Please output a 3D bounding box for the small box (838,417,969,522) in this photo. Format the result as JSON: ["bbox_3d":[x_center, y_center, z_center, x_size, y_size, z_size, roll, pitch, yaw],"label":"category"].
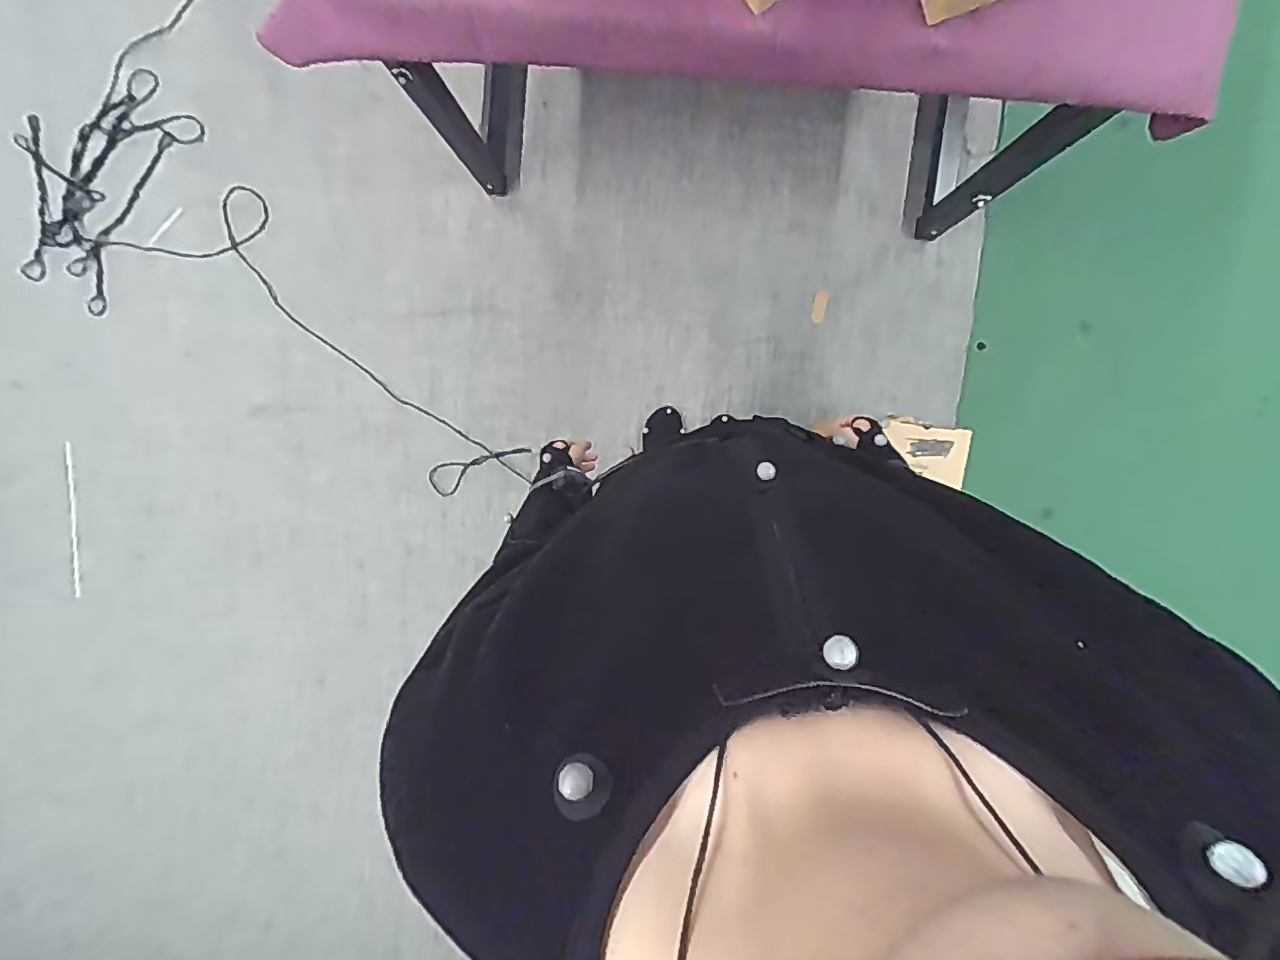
[{"bbox_3d":[0.510,-0.028,1.071,0.168,0.176,0.179,8,98,1],"label":"small box"}]

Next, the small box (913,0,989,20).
[{"bbox_3d":[0.416,-0.680,0.603,0.179,0.176,0.168,-17,93,5],"label":"small box"}]

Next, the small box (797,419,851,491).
[{"bbox_3d":[0.524,-0.056,1.399,0.179,0.176,0.168,16,97,1],"label":"small box"}]
